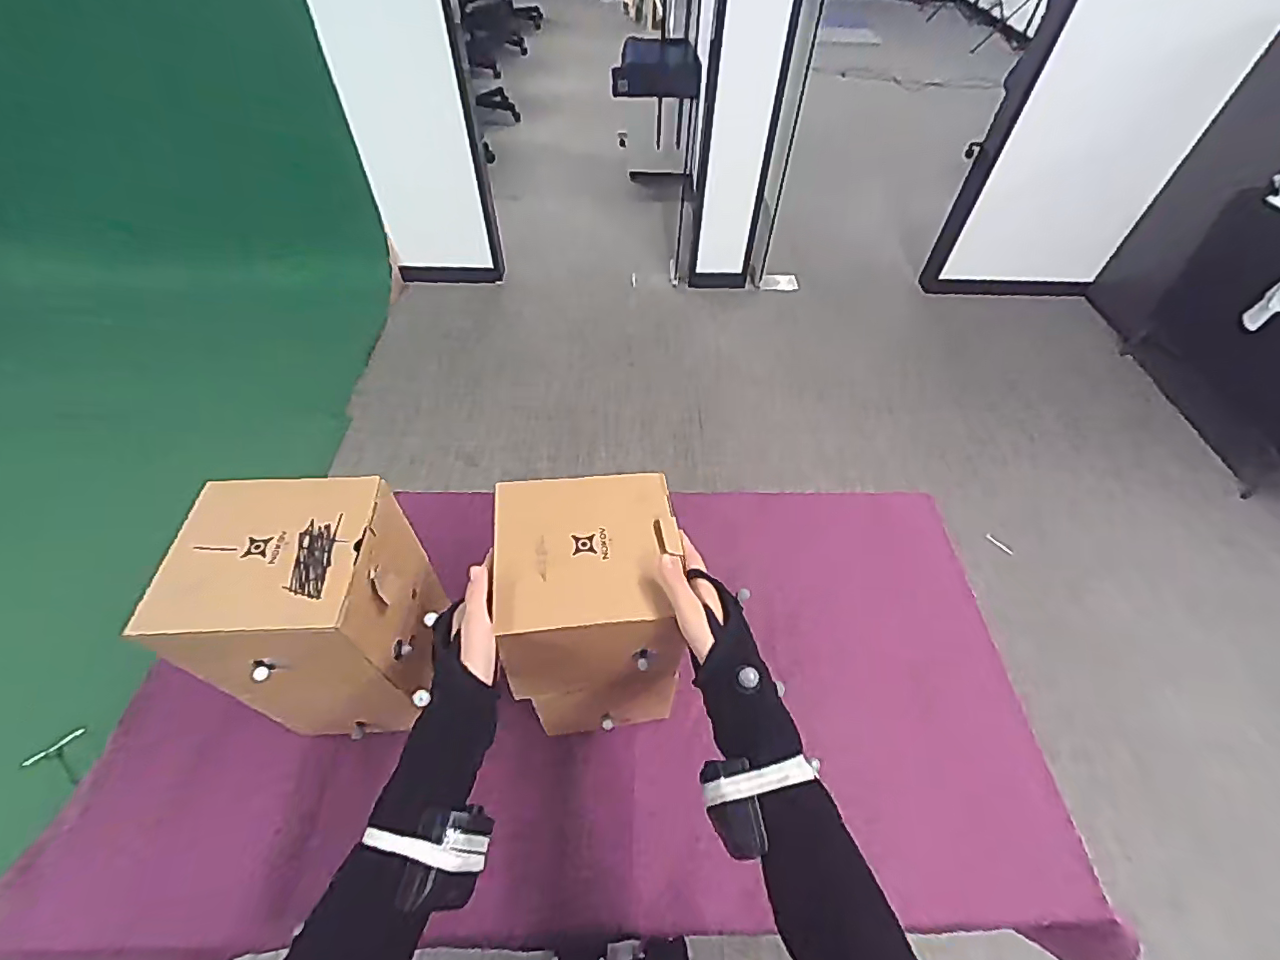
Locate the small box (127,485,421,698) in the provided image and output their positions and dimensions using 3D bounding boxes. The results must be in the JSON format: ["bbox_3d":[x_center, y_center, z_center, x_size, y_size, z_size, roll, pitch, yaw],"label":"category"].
[{"bbox_3d":[-0.351,0.120,0.569,0.179,0.176,0.168,-1,52,-2],"label":"small box"}]

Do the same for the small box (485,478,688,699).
[{"bbox_3d":[-0.058,0.116,0.570,0.179,0.176,0.168,-4,51,-7],"label":"small box"}]

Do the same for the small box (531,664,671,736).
[{"bbox_3d":[-0.058,0.217,0.714,0.168,0.176,0.179,-6,53,-6],"label":"small box"}]

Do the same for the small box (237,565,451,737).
[{"bbox_3d":[-0.357,0.223,0.698,0.179,0.176,0.168,-1,51,-4],"label":"small box"}]
